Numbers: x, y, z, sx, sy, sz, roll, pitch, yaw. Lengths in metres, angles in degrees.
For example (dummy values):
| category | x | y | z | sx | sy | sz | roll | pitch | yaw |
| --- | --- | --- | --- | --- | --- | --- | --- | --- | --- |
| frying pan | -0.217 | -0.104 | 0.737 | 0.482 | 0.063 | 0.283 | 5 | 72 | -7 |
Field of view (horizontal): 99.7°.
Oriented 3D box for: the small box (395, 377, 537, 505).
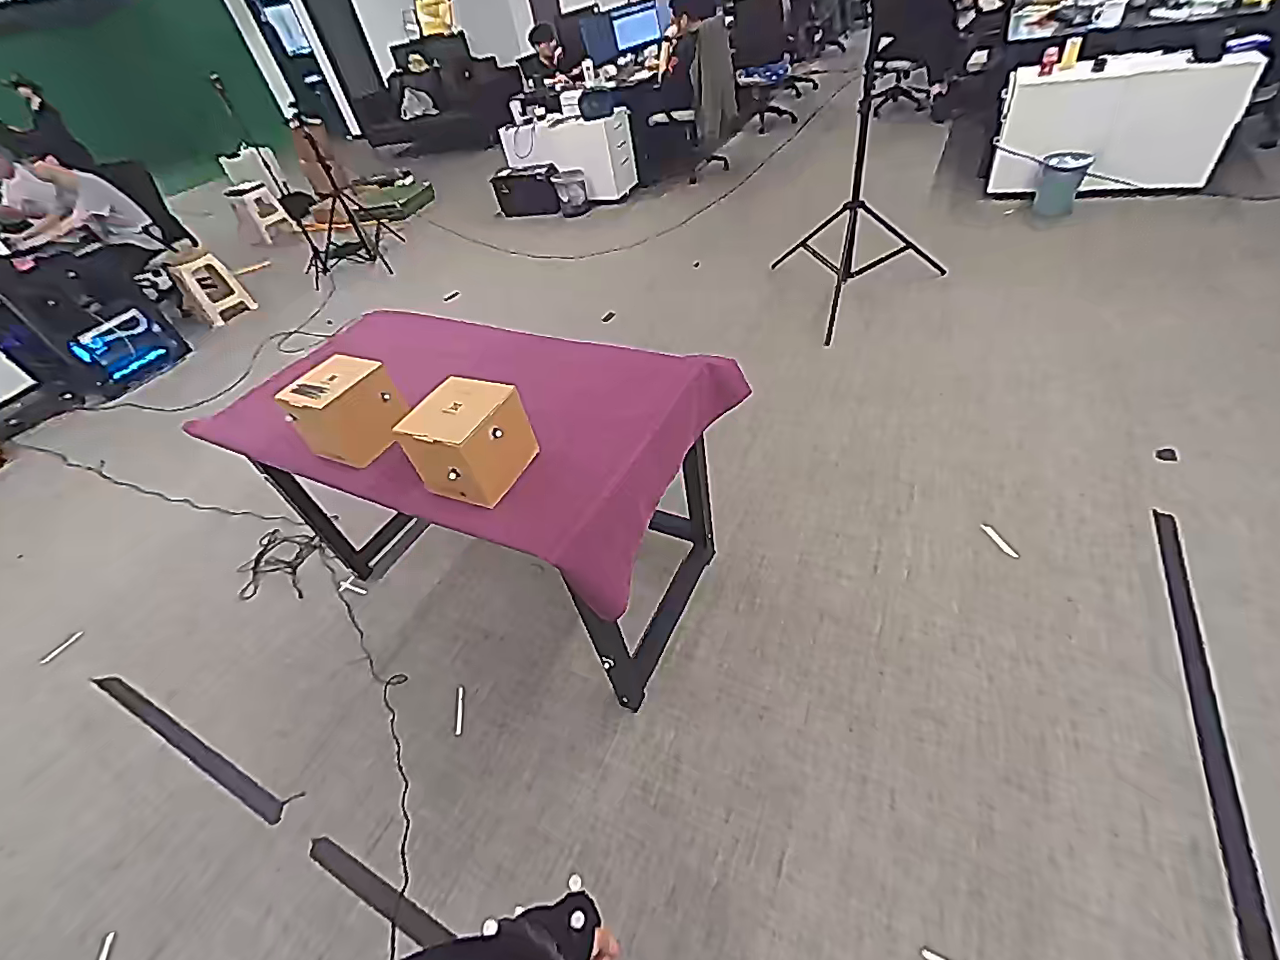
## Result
| category | x | y | z | sx | sy | sz | roll | pitch | yaw |
| --- | --- | --- | --- | --- | --- | --- | --- | --- | --- |
| small box | -0.325 | -0.075 | 1.052 | 0.168 | 0.176 | 0.179 | 13 | 49 | 23 |
